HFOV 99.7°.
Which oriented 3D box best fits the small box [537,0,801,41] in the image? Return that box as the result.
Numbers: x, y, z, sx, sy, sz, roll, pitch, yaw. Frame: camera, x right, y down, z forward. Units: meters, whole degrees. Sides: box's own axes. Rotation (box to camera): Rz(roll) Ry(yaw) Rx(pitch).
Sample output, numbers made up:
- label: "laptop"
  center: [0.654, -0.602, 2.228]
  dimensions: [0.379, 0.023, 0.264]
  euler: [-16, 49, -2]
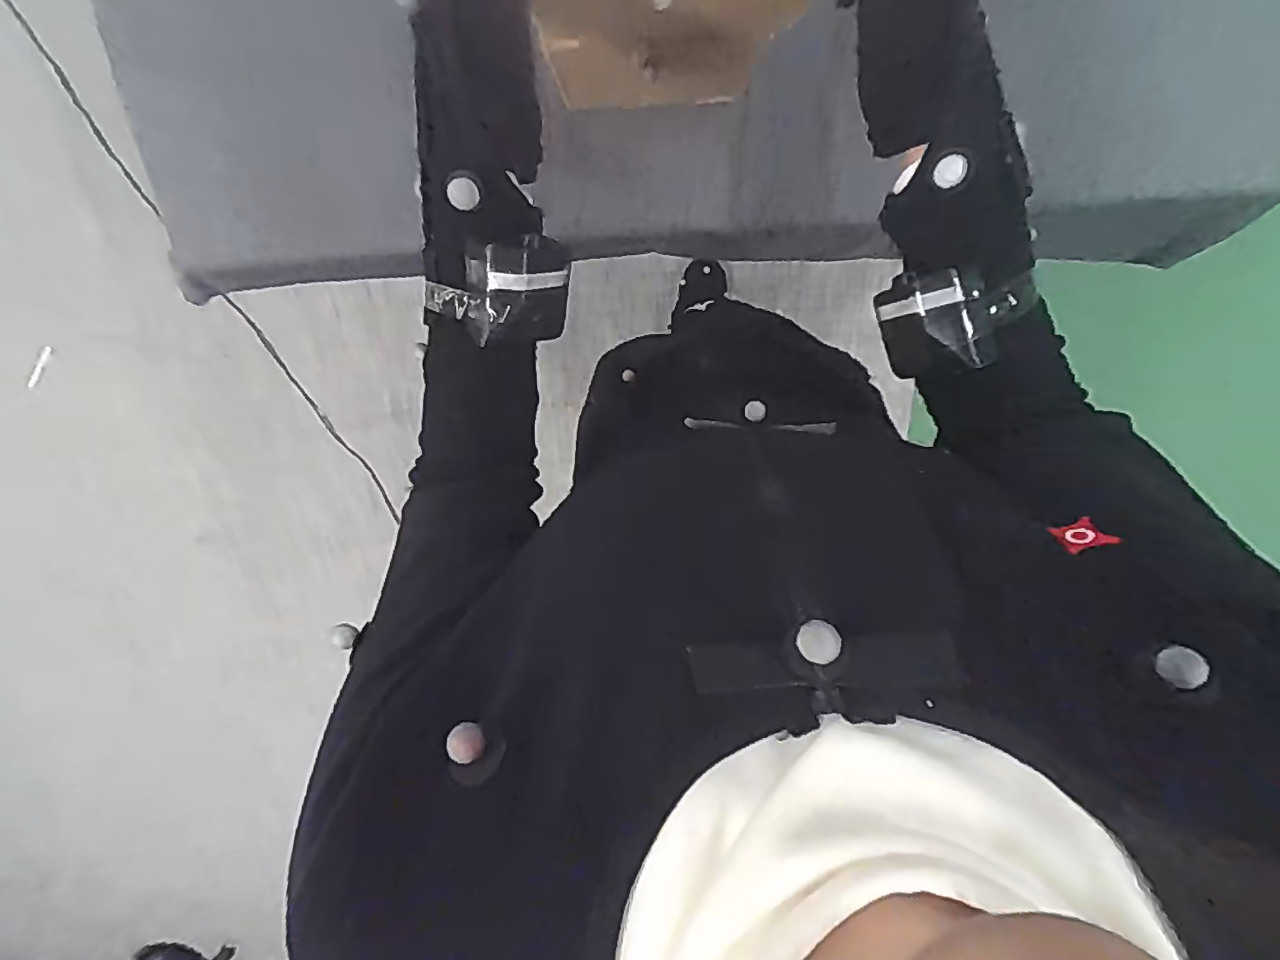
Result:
- label: "small box"
  center: [0.021, -0.357, 0.279]
  dimensions: [0.179, 0.176, 0.168]
  euler: [-2, 113, 1]

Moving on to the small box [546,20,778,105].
- label: "small box"
  center: [0.014, -0.434, 0.452]
  dimensions: [0.179, 0.176, 0.168]
  euler: [-3, 112, 1]
